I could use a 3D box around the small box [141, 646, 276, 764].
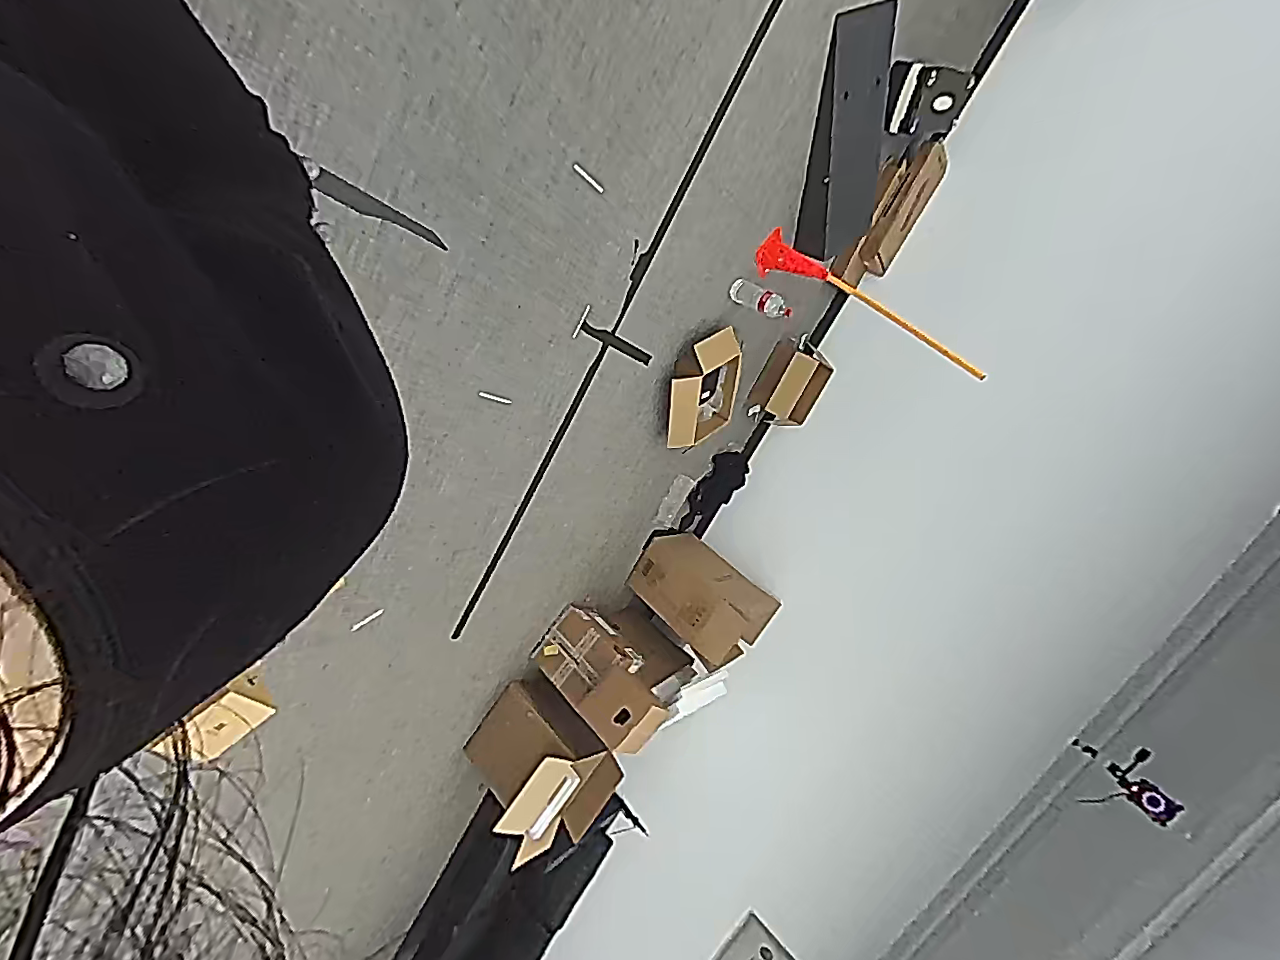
[{"bbox_3d":[-1.020,0.528,1.279,0.179,0.176,0.168,-39,147,-20],"label":"small box"}]
